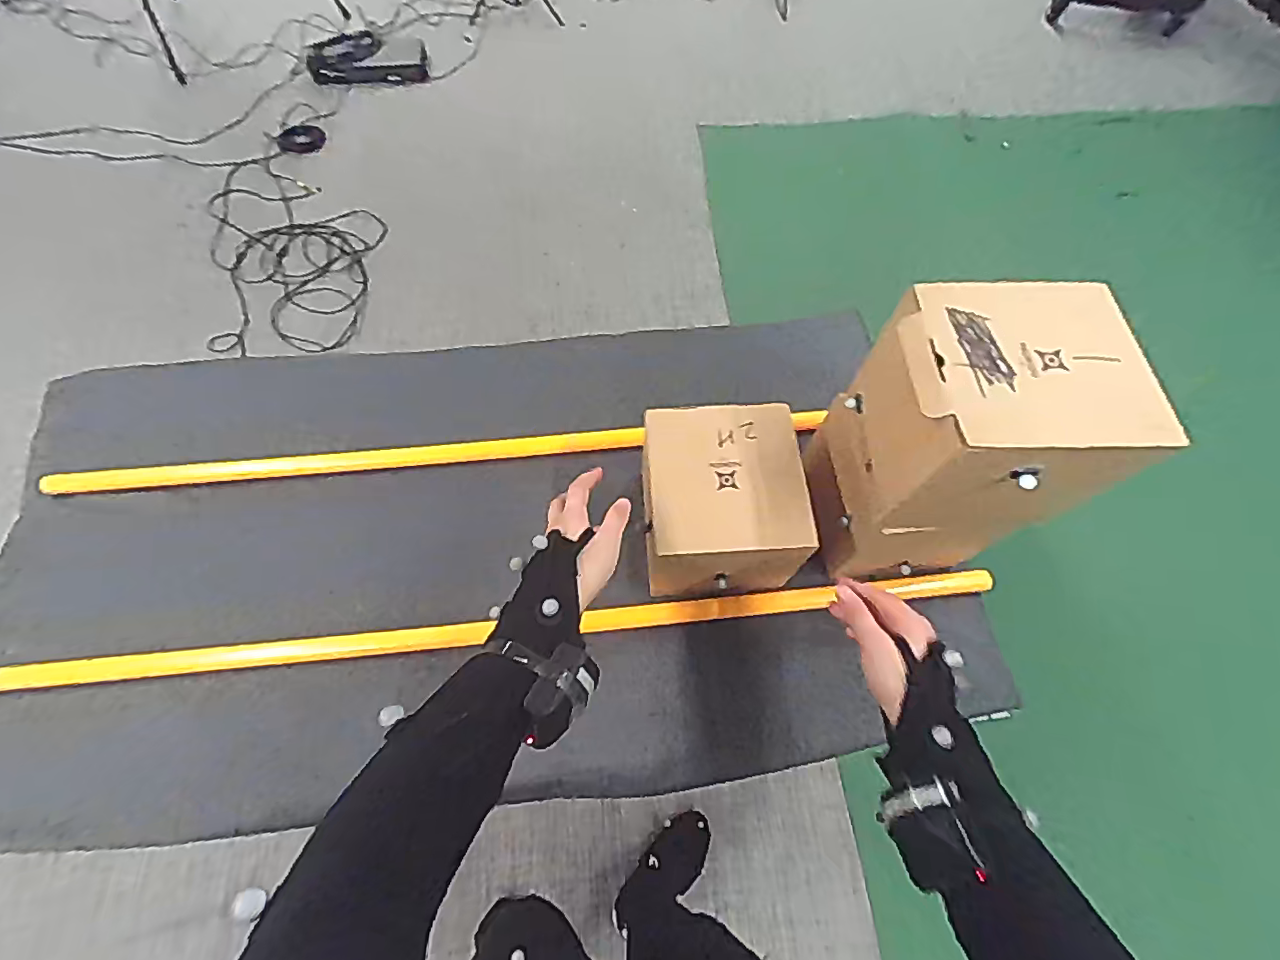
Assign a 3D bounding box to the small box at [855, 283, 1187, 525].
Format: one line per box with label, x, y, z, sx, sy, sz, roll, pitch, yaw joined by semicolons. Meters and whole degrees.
small box;0.320;-0.061;0.507;0.179;0.176;0.168;0;65;-2
